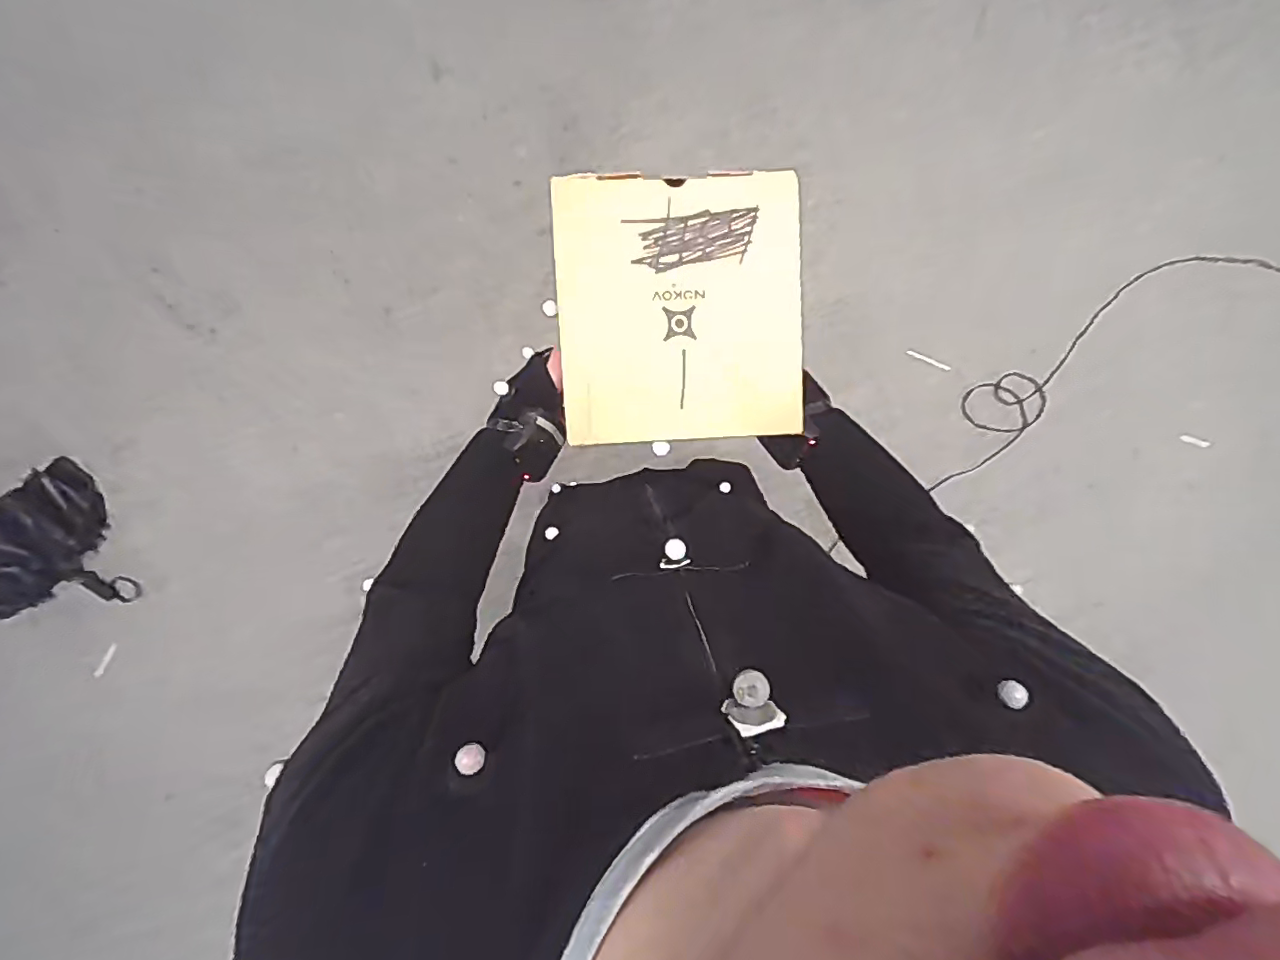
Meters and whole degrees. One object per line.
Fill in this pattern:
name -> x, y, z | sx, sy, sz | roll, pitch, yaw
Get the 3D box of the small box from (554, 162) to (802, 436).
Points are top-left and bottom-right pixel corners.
small box -> 0.022, -0.128, 0.439 | 0.168, 0.176, 0.179 | -3, 98, -2
